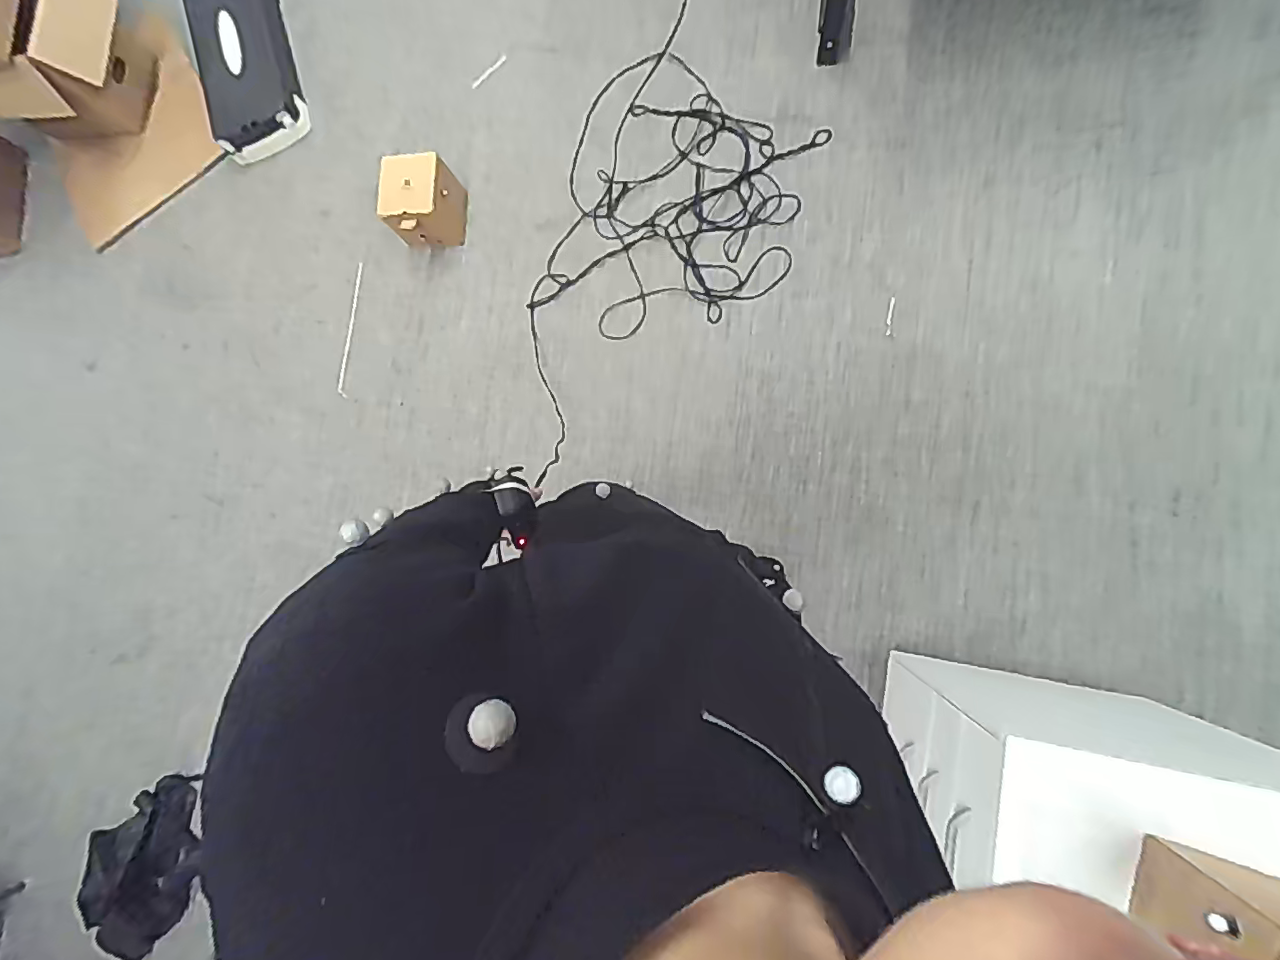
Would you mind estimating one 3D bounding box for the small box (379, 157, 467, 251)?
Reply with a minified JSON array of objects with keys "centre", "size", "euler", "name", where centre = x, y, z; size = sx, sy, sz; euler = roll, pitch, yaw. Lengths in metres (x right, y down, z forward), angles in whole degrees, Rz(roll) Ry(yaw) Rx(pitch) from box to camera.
[{"centre":[-0.607,-0.775,1.532],"size":[0.168,0.176,0.179],"euler":[1,84,10],"name":"small box"}]
